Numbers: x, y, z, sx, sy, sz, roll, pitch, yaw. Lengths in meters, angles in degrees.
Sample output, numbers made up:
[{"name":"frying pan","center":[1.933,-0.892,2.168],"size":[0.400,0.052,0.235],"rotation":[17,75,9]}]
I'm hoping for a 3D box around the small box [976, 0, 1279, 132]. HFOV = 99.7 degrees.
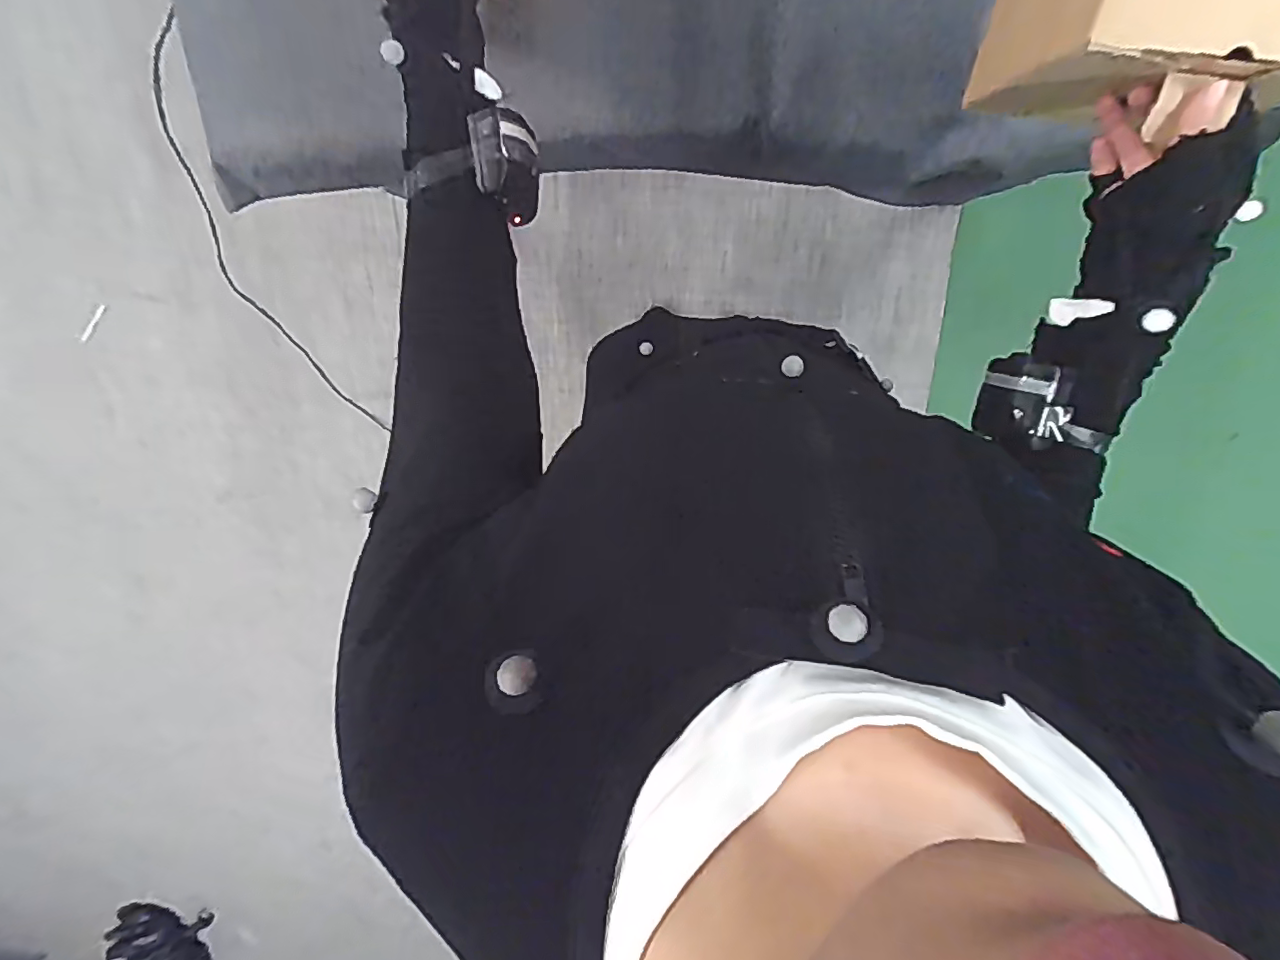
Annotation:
[{"name":"small box","center":[0.350,-0.338,0.339],"size":[0.168,0.176,0.179],"rotation":[9,116,2]}]
